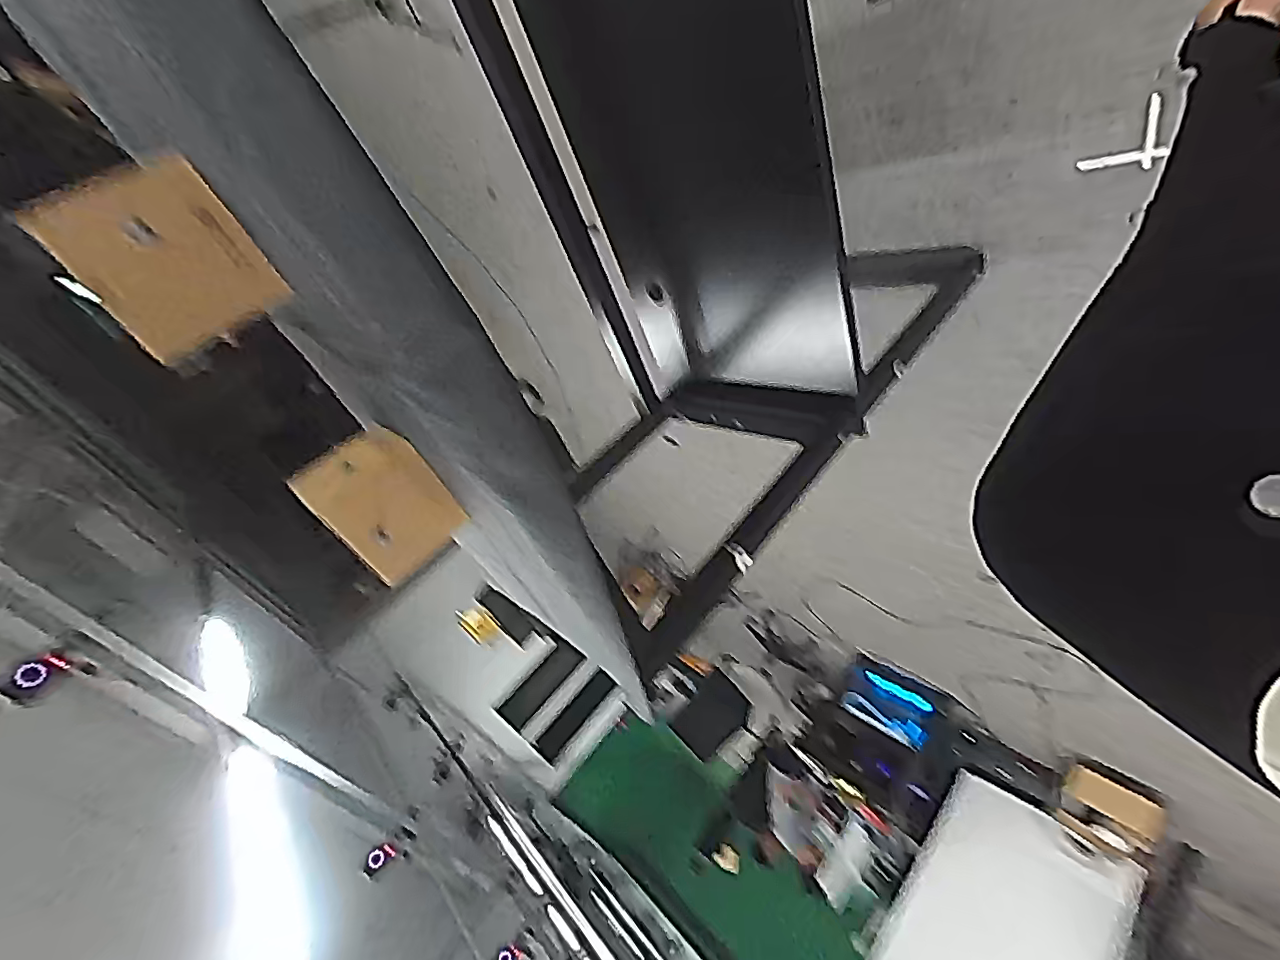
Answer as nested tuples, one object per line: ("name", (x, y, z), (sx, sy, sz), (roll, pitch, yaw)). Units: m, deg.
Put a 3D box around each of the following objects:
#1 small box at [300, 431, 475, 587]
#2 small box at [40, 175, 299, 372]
("small box", (-0.416, 0.040, 0.904), (0.168, 0.176, 0.179), (19, 146, 45))
("small box", (-0.567, -0.253, 0.676), (0.179, 0.176, 0.168), (17, 143, 48))
